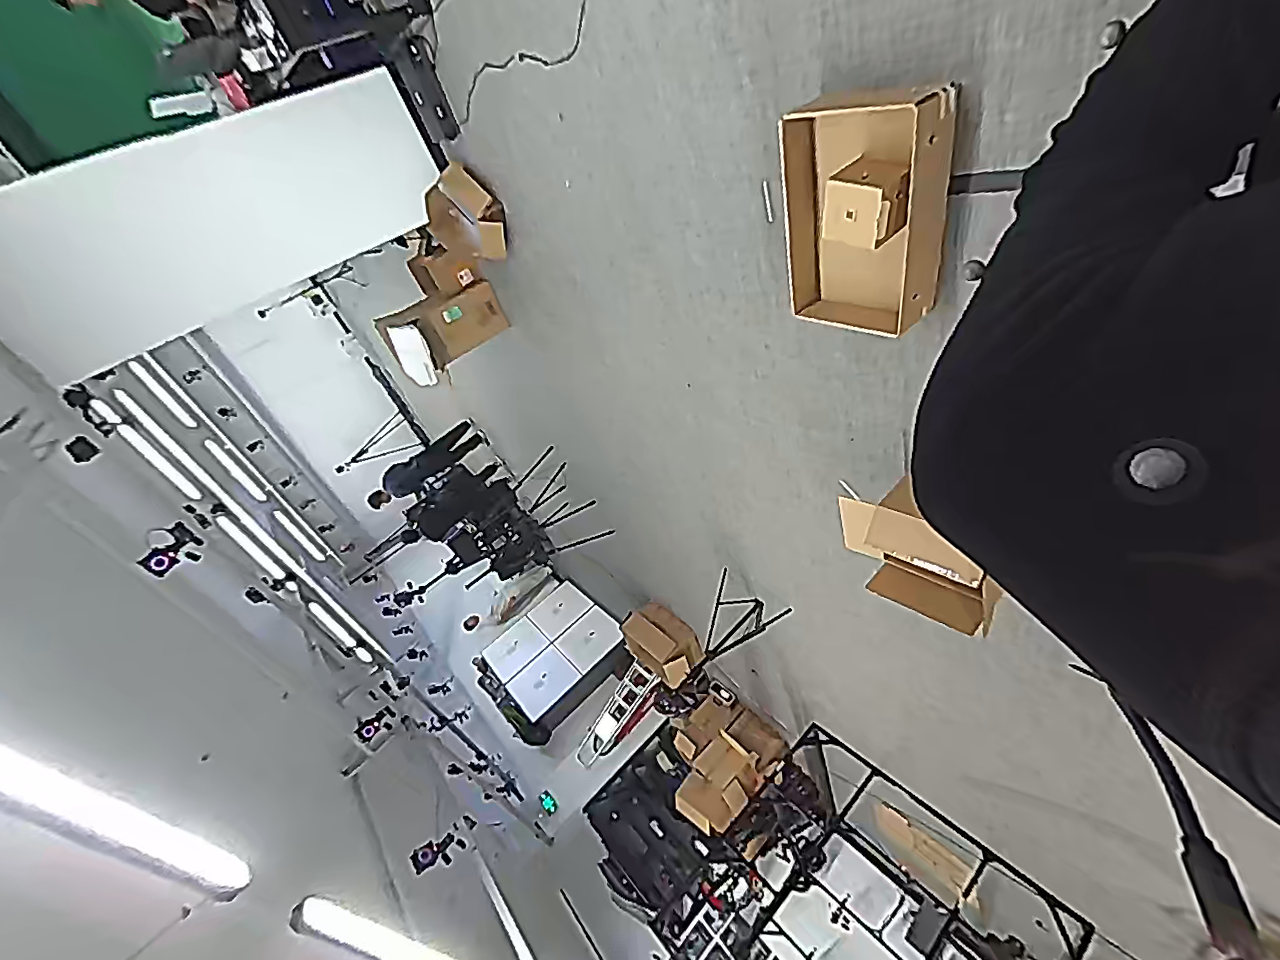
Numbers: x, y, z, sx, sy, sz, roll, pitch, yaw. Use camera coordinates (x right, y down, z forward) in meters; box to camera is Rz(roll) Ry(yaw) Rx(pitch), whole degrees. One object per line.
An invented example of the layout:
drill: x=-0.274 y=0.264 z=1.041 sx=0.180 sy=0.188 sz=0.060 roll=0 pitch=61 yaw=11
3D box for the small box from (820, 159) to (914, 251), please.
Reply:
small box: x=0.634 y=-0.776 z=1.517 sx=0.179 sy=0.176 sz=0.168 roll=35 pitch=153 yaw=34
